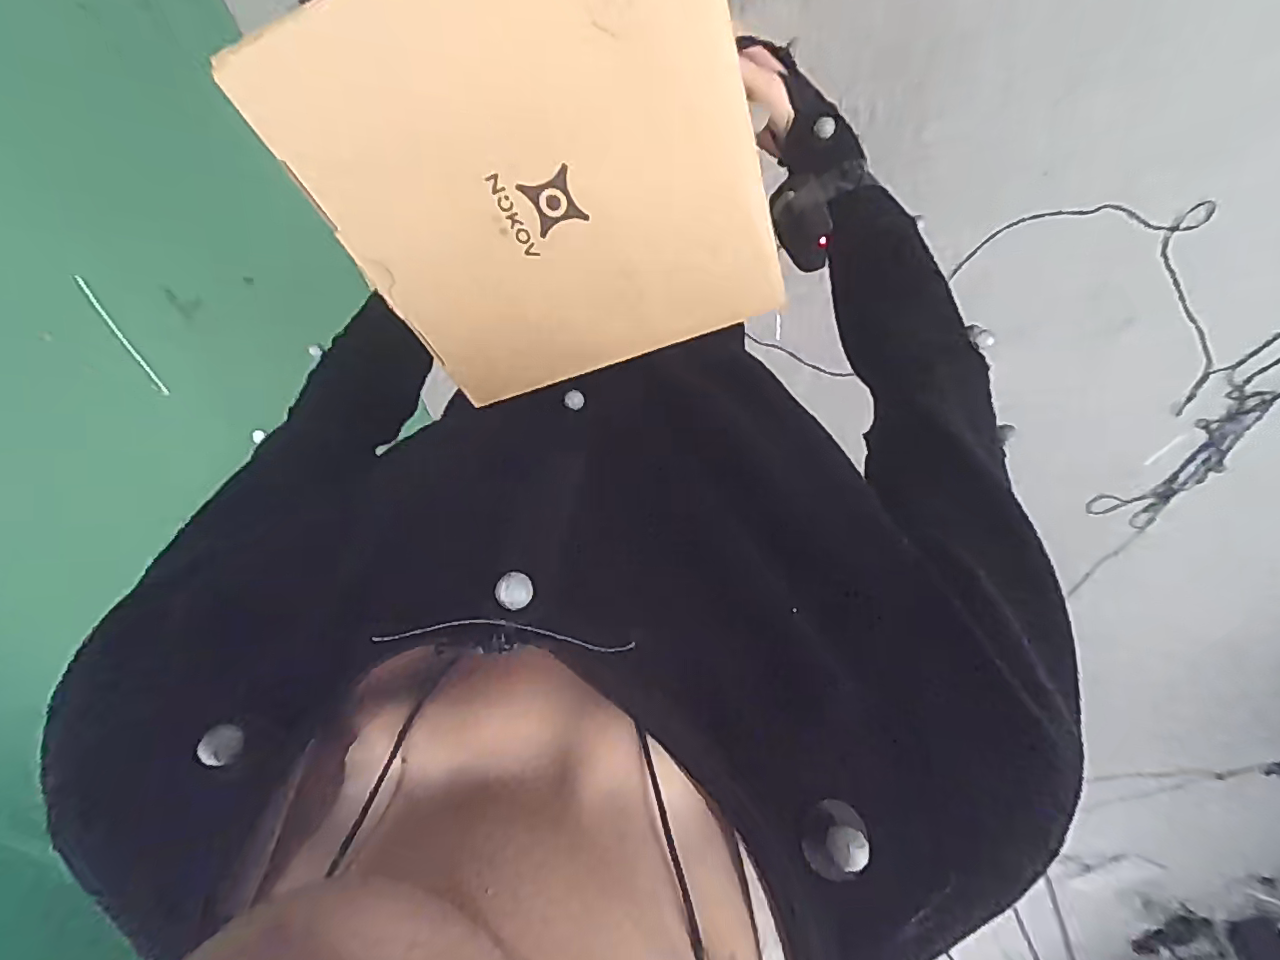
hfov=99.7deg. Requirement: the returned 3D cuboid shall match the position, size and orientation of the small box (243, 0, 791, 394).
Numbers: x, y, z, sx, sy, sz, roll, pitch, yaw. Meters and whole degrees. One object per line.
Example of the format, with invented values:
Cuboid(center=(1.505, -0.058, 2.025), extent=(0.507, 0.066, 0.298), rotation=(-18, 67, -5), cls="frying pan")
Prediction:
Cuboid(center=(-0.037, -0.178, 0.279), extent=(0.179, 0.176, 0.168), rotation=(-14, 136, 16), cls="small box")
